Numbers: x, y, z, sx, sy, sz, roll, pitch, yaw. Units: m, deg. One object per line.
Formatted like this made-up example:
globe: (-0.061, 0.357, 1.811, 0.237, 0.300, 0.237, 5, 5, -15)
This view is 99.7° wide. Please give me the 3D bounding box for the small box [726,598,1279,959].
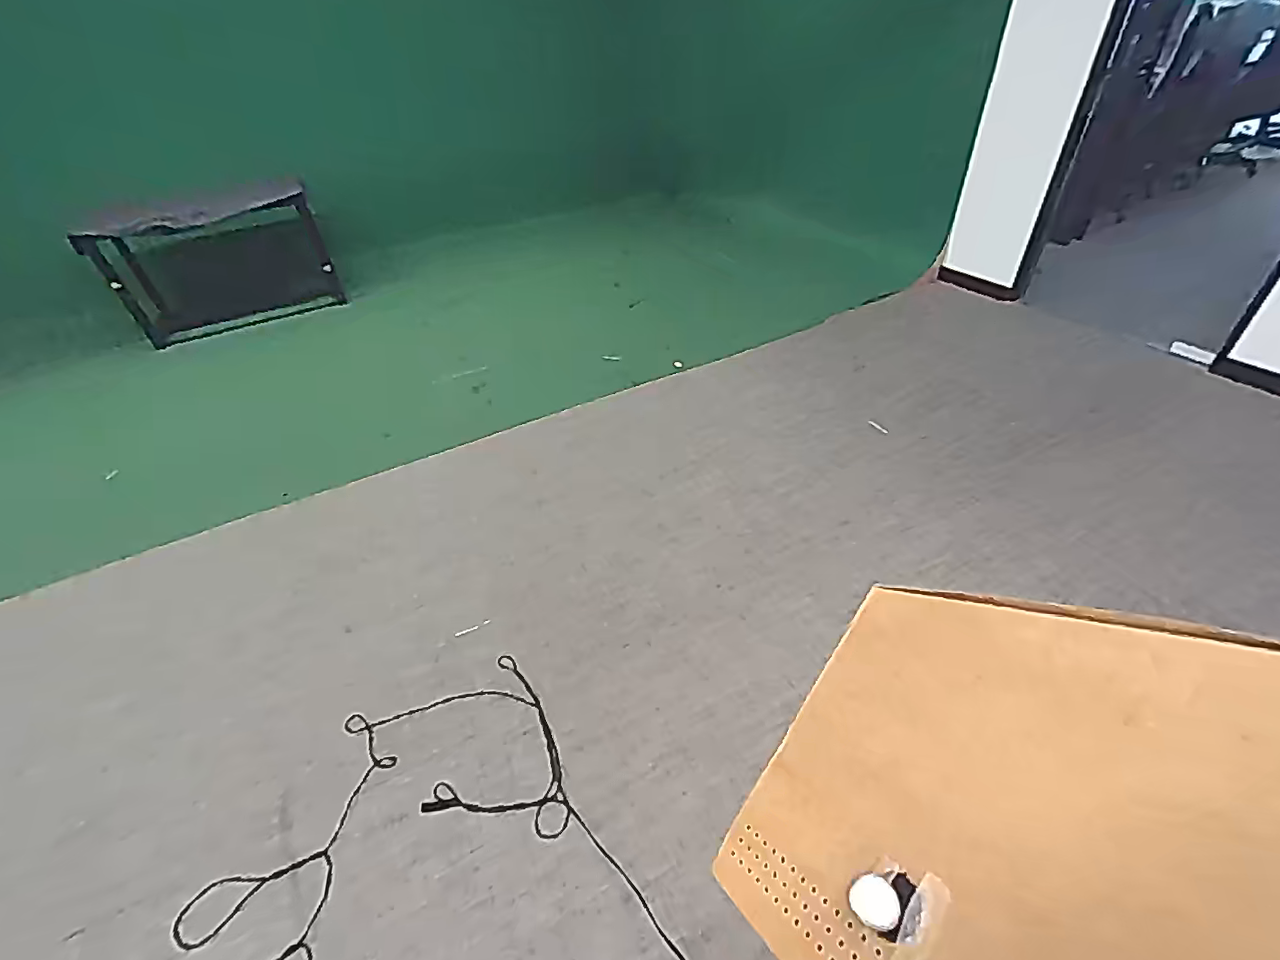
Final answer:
small box: (0.171, 0.175, 0.220, 0.176, 0.168, 0.179, -51, 14, -17)
